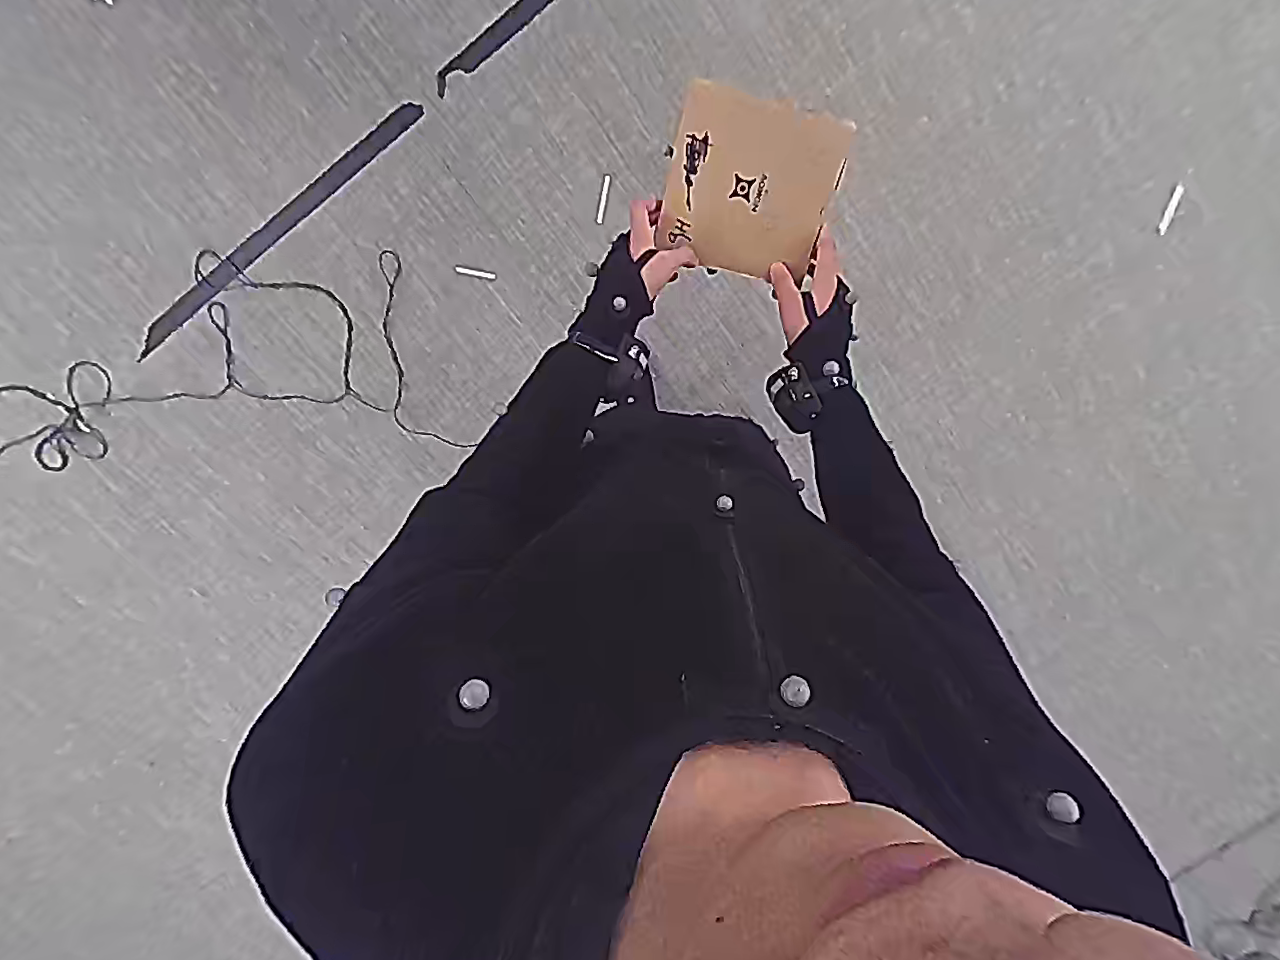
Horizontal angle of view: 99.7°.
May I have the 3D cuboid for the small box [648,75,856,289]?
[{"bbox_3d":[0.112,-0.339,0.629,0.179,0.176,0.168,12,118,-6],"label":"small box"}]
